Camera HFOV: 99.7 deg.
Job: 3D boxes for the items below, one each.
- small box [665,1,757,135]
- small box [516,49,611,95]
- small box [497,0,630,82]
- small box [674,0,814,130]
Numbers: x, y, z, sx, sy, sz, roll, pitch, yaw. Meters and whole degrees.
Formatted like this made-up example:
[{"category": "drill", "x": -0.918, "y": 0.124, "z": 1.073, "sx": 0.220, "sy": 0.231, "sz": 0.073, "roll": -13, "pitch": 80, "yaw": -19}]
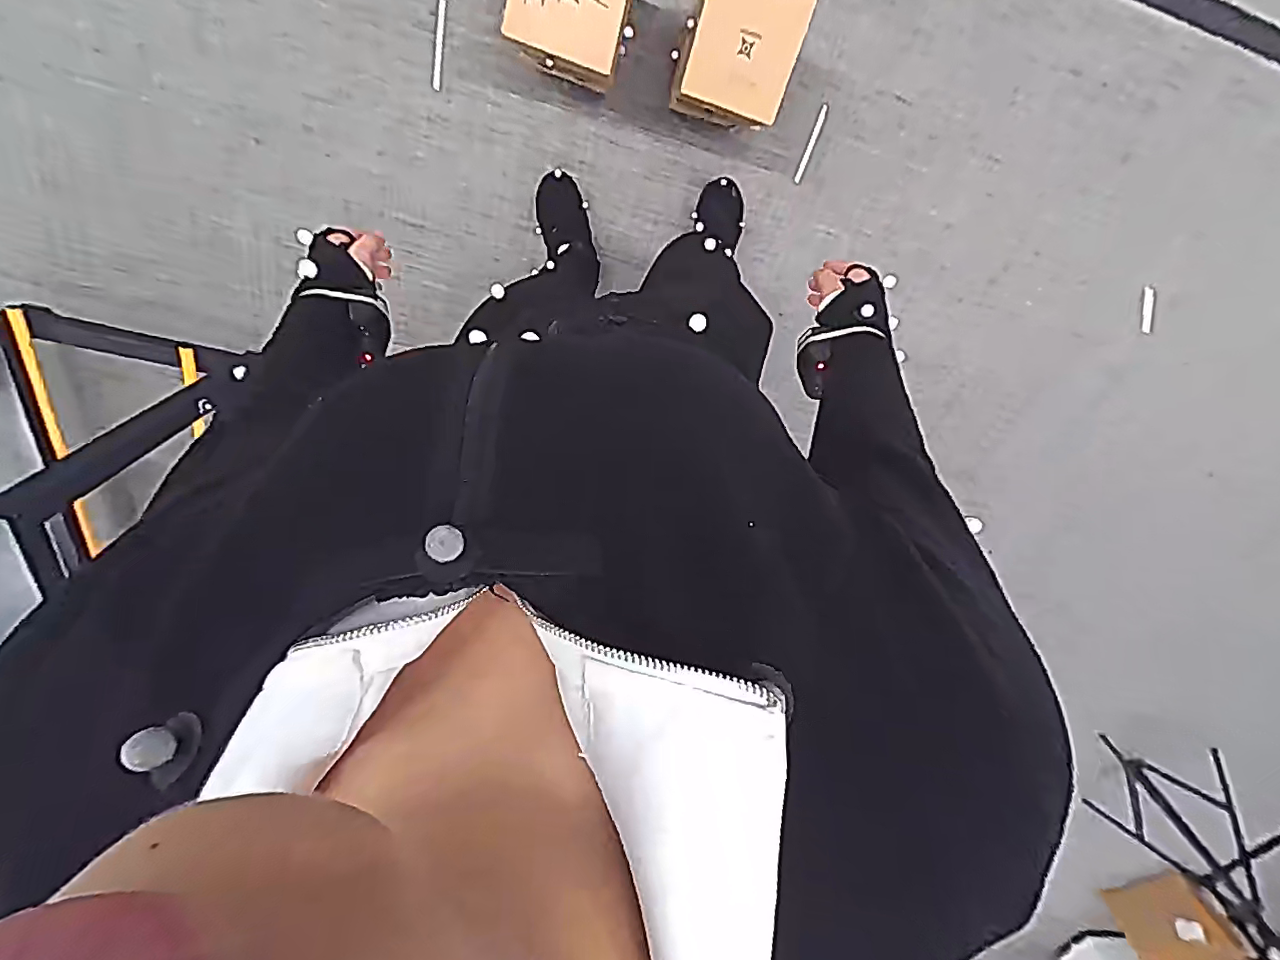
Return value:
[{"category": "small box", "x": 0.157, "y": -0.792, "z": 1.053, "sx": 0.179, "sy": 0.176, "sz": 0.168, "roll": 12, "pitch": 121, "yaw": -9}, {"category": "small box", "x": -0.121, "y": -0.848, "z": 1.008, "sx": 0.168, "sy": 0.176, "sz": 0.179, "roll": 15, "pitch": 121, "yaw": -11}, {"category": "small box", "x": -0.113, "y": -0.764, "z": 0.865, "sx": 0.179, "sy": 0.176, "sz": 0.168, "roll": 14, "pitch": 121, "yaw": -11}, {"category": "small box", "x": 0.160, "y": -0.716, "z": 0.909, "sx": 0.168, "sy": 0.176, "sz": 0.179, "roll": 14, "pitch": 122, "yaw": -10}]
